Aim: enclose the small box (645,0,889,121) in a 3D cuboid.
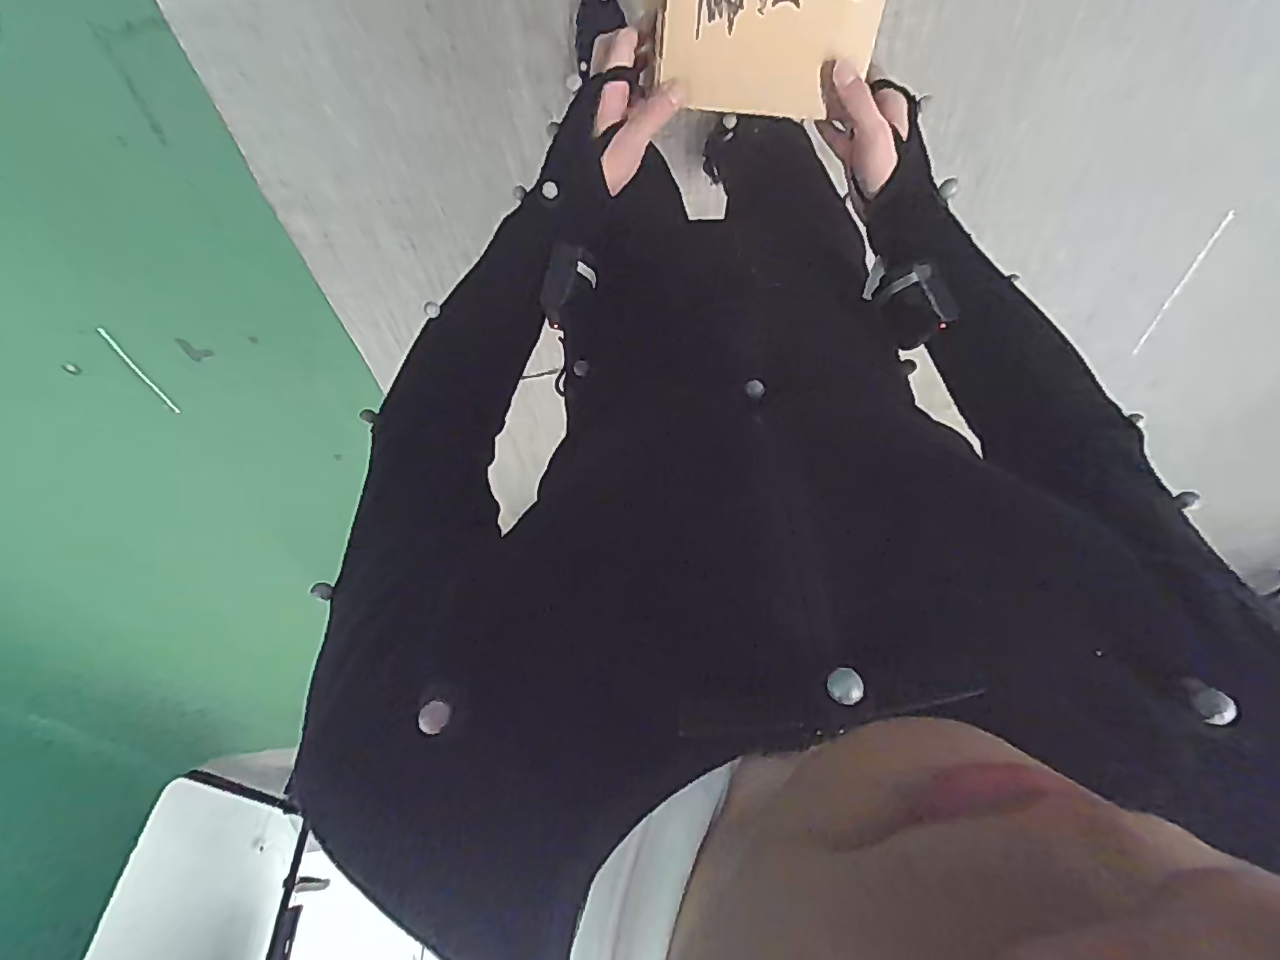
[{"bbox_3d":[0.101,-0.424,0.470,0.179,0.176,0.168,1,128,-7],"label":"small box"}]
